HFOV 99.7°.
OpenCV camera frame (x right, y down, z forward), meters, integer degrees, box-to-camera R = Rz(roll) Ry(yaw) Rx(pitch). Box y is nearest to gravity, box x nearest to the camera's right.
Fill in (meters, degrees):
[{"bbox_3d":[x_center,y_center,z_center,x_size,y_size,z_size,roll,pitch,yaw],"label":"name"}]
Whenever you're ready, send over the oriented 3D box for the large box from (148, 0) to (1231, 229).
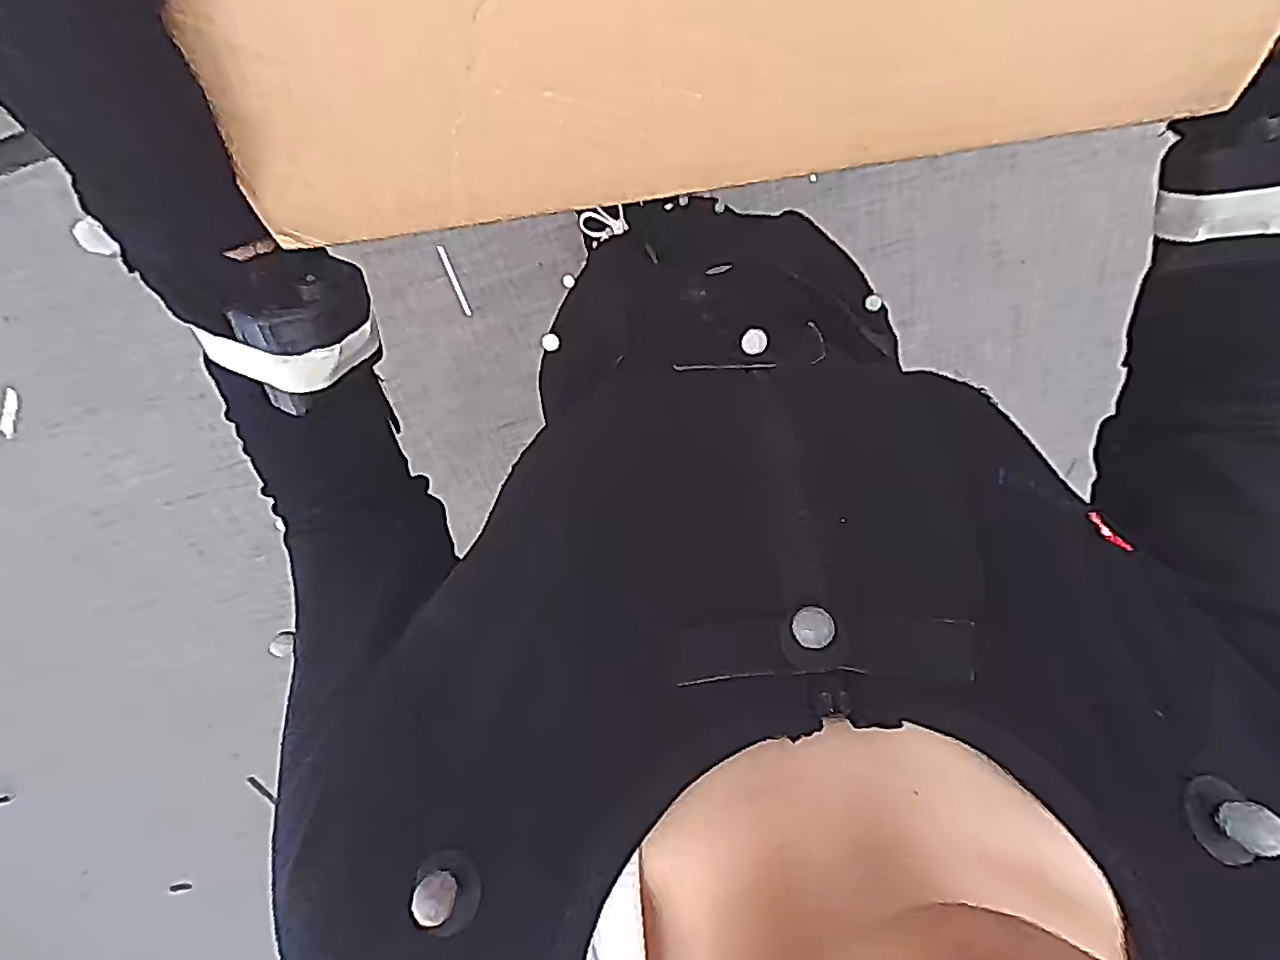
[{"bbox_3d":[0.011,-0.350,0.219,0.408,0.320,0.320,-8,138,0],"label":"large box"}]
